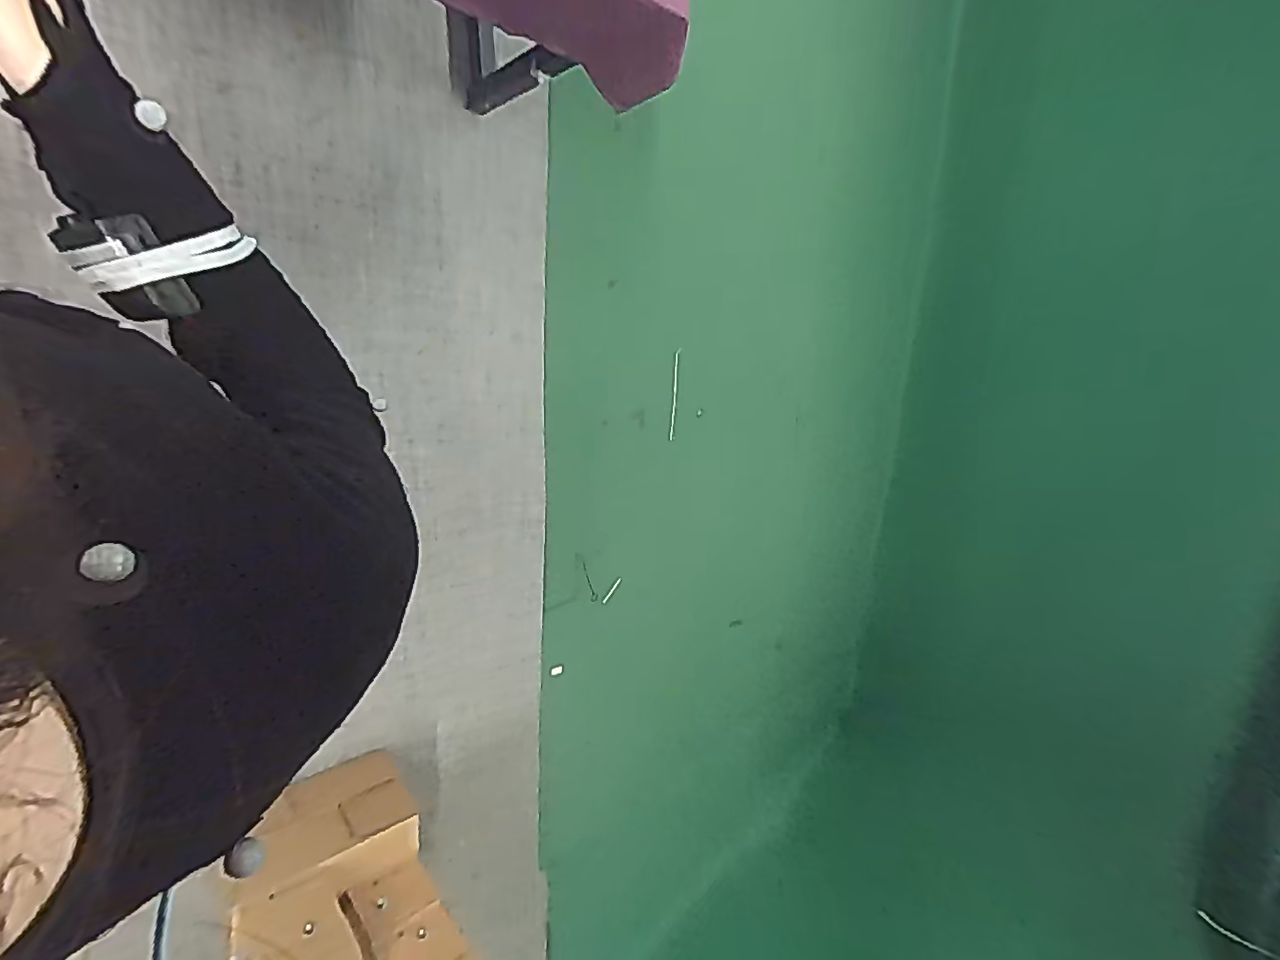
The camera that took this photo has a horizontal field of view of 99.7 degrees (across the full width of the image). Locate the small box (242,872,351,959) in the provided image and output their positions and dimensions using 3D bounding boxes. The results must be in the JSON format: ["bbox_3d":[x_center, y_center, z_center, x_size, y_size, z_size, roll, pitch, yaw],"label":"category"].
[{"bbox_3d":[-0.736,1.003,1.155,0.168,0.176,0.179,-3,105,-45],"label":"small box"}]

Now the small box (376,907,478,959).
[{"bbox_3d":[-0.483,1.133,1.217,0.168,0.176,0.179,-5,104,-44],"label":"small box"}]

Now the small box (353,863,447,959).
[{"bbox_3d":[-0.593,1.095,1.332,0.168,0.176,0.179,-5,107,-45],"label":"small box"}]
